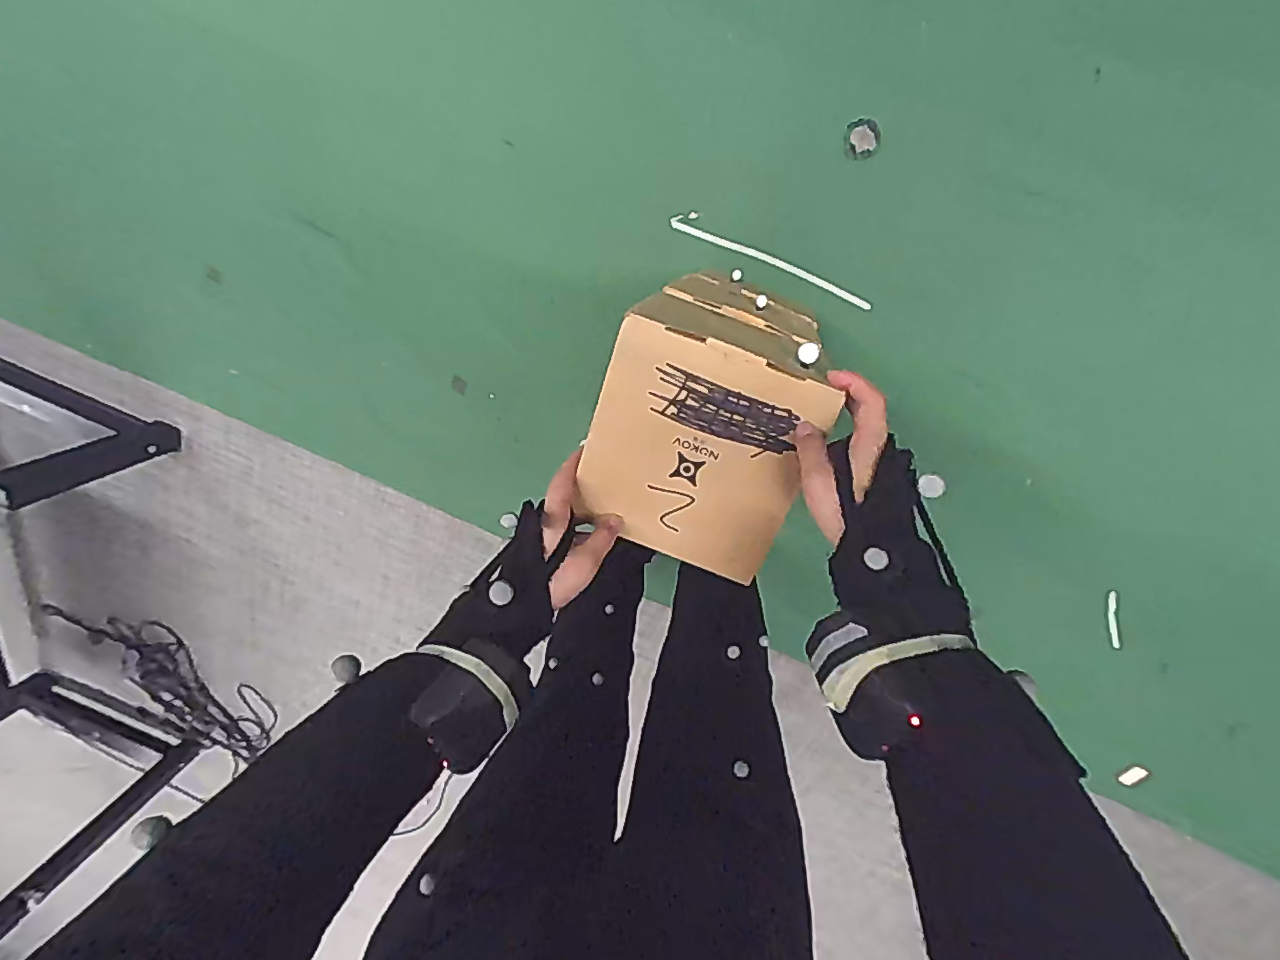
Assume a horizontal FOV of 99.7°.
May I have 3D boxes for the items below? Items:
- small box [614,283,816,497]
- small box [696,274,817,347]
[{"bbox_3d":[0.089,-0.114,0.632,0.168,0.176,0.179,22,116,3],"label":"small box"},{"bbox_3d":[0.132,-0.180,0.775,0.168,0.176,0.179,23,118,3],"label":"small box"}]
